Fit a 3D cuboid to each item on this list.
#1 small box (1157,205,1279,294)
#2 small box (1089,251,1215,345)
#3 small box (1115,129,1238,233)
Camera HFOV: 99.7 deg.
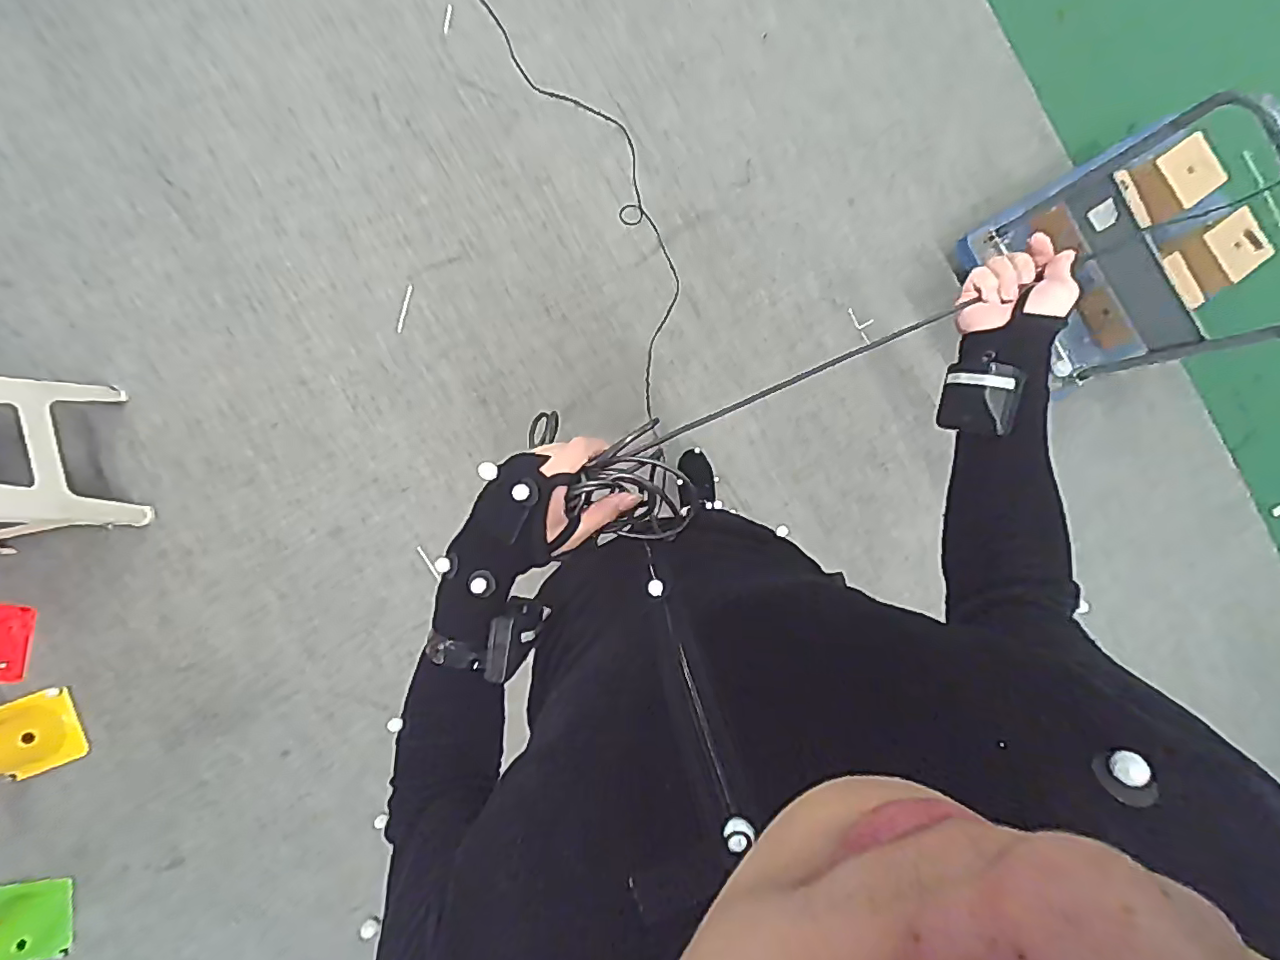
[{"bbox_3d":[1.693,-0.656,1.585,0.179,0.176,0.168,-35,91,-5],"label":"small box"},{"bbox_3d":[1.463,-0.516,1.556,0.179,0.176,0.168,-30,91,-6],"label":"small box"},{"bbox_3d":[1.547,-0.861,1.577,0.179,0.176,0.168,-35,92,-6],"label":"small box"}]
